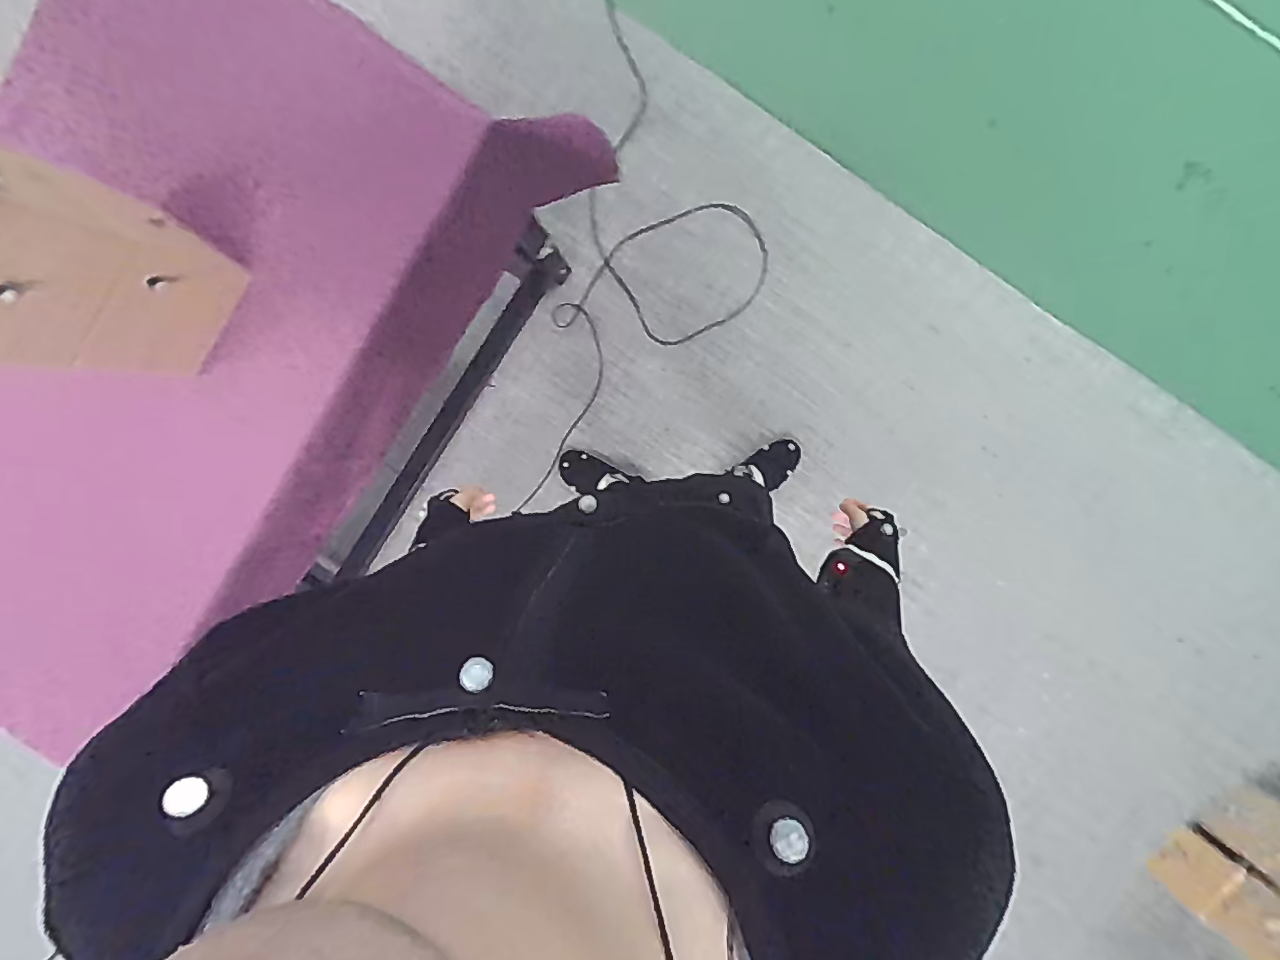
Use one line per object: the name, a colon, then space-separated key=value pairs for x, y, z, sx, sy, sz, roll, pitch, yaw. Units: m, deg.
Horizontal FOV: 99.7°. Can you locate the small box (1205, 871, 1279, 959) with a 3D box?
small box: x=1.570 y=1.108 z=1.319 sx=0.179 sy=0.176 sz=0.168 roll=40 pitch=98 yaw=-2

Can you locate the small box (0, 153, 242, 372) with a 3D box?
small box: x=-0.663 y=-0.257 z=0.689 sx=0.168 sy=0.176 sz=0.179 roll=36 pitch=98 yaw=-1

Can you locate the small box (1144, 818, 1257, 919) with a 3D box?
small box: x=1.569 y=1.082 z=1.482 sx=0.179 sy=0.176 sz=0.168 roll=34 pitch=98 yaw=-1
